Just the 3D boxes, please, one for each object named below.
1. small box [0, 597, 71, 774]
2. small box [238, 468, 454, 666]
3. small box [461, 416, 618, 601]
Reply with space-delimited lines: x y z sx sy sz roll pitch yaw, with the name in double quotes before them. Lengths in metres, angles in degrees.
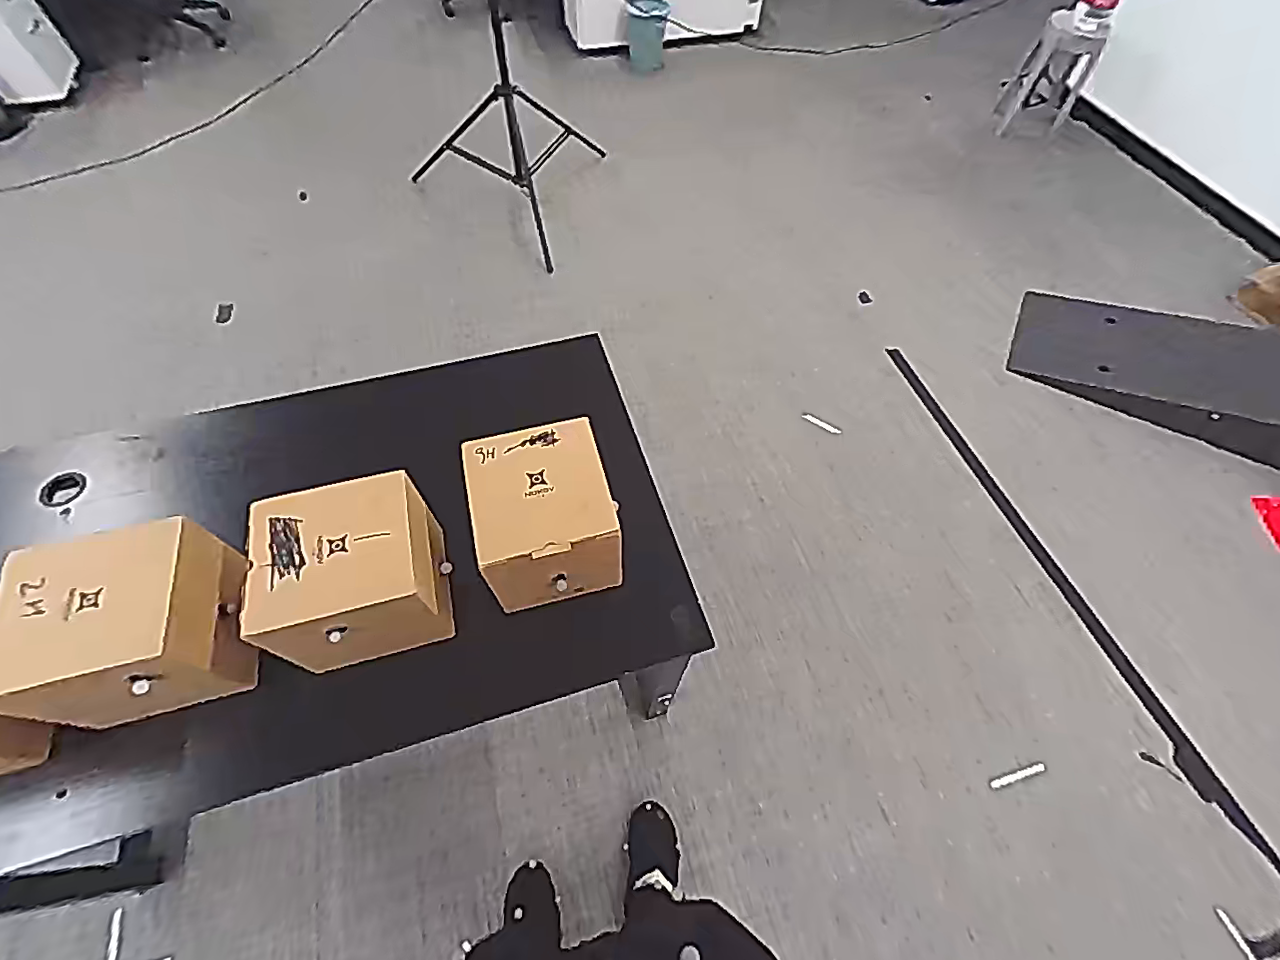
"small box" -0.784 0.229 0.581 0.168 0.176 0.179 -15 61 -9
"small box" -0.346 0.113 0.665 0.179 0.176 0.168 -13 60 -11
"small box" -0.125 0.046 0.711 0.168 0.176 0.179 -12 61 -10
